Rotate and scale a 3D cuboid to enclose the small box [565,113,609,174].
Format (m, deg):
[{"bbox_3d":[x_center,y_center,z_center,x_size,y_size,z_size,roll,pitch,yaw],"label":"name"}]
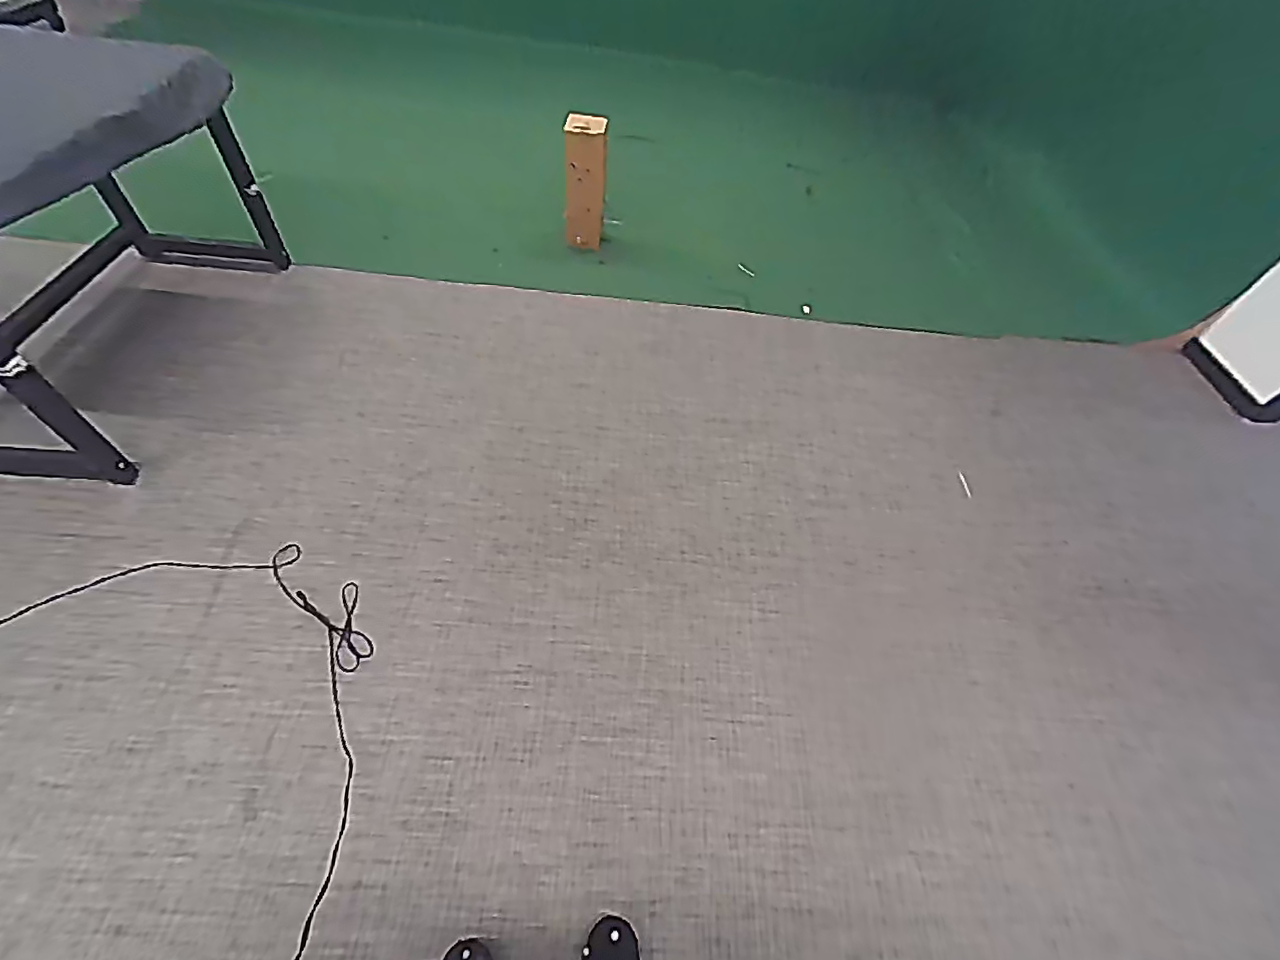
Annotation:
[{"bbox_3d":[-0.227,-1.441,2.321,0.168,0.176,0.179,7,52,-2],"label":"small box"}]

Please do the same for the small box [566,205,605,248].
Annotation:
[{"bbox_3d":[-0.258,-1.236,2.576,0.168,0.176,0.179,5,54,-2],"label":"small box"}]

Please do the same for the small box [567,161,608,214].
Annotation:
[{"bbox_3d":[-0.239,-1.337,2.448,0.168,0.176,0.179,6,52,-1],"label":"small box"}]
